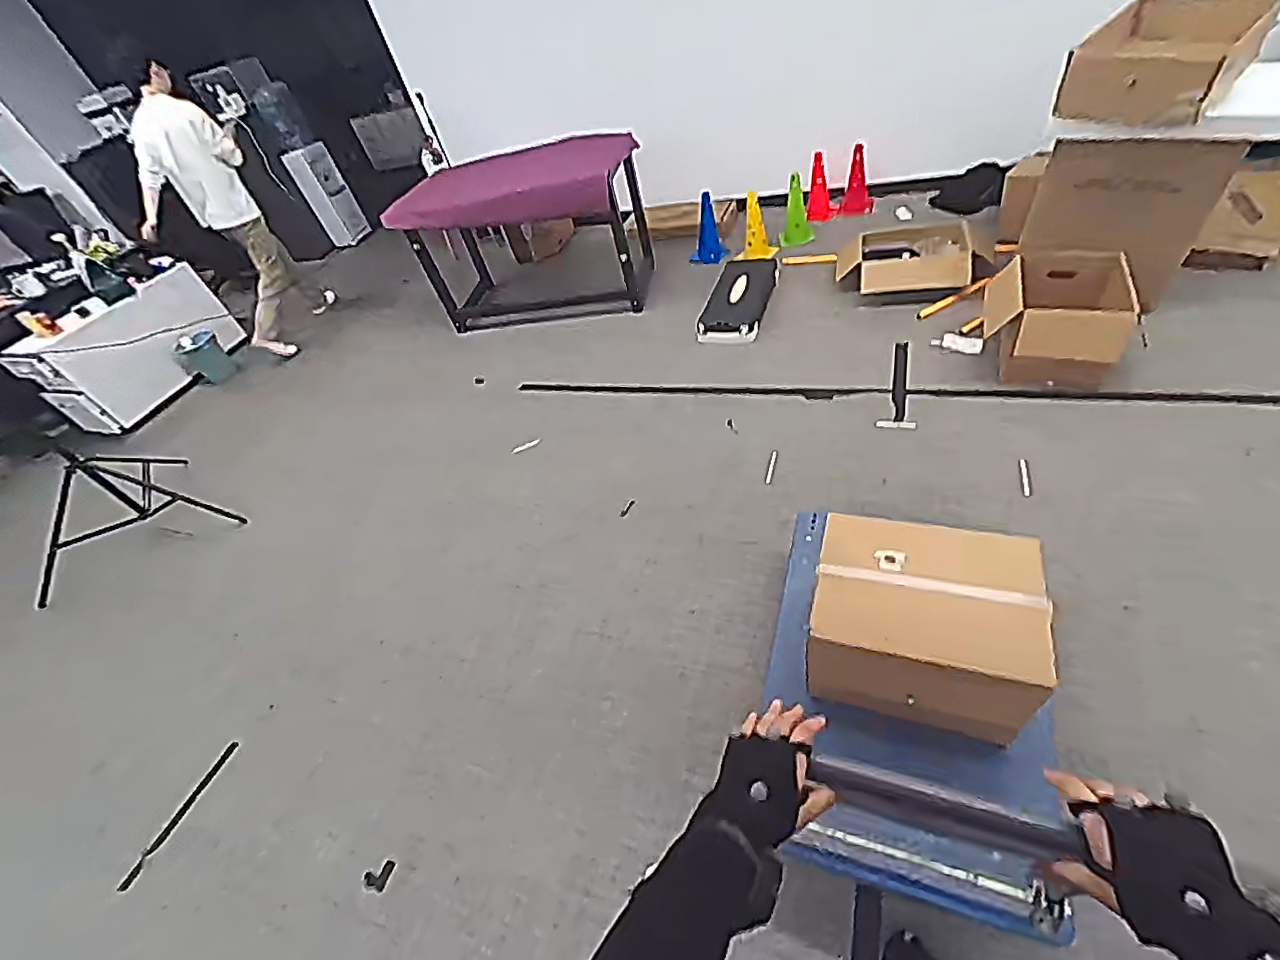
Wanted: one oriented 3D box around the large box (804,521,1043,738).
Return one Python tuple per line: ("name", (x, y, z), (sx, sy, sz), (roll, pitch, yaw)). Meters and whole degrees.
("large box", (0.592, 0.322, 1.192), (0.408, 0.320, 0.320), (6, 50, 23))
